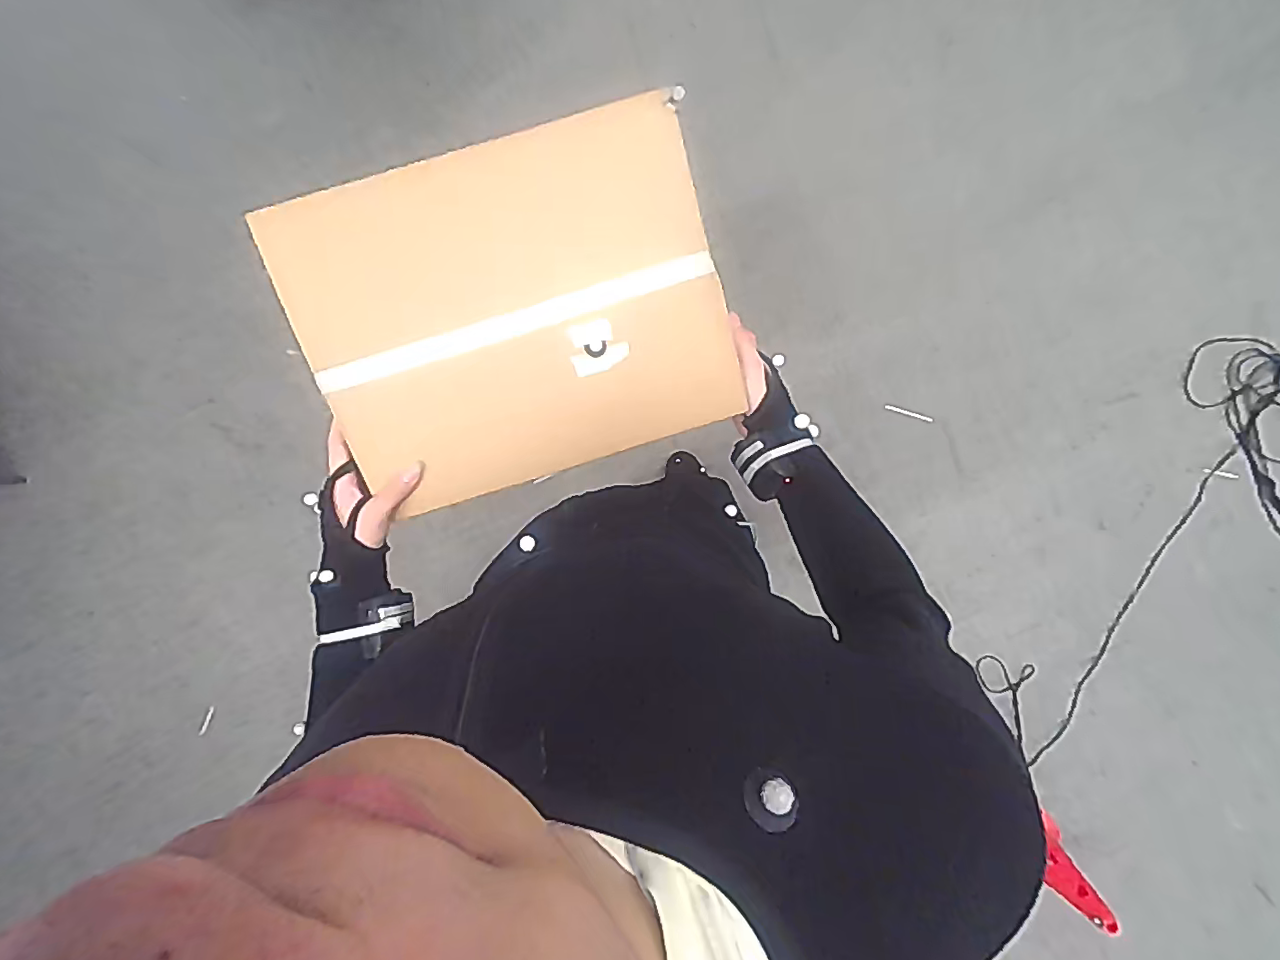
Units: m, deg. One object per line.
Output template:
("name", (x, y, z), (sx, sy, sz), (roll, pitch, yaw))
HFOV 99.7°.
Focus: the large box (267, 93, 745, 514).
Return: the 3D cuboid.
("large box", (-0.133, -0.197, 0.685), (0.408, 0.320, 0.320), (-18, 106, -2))
